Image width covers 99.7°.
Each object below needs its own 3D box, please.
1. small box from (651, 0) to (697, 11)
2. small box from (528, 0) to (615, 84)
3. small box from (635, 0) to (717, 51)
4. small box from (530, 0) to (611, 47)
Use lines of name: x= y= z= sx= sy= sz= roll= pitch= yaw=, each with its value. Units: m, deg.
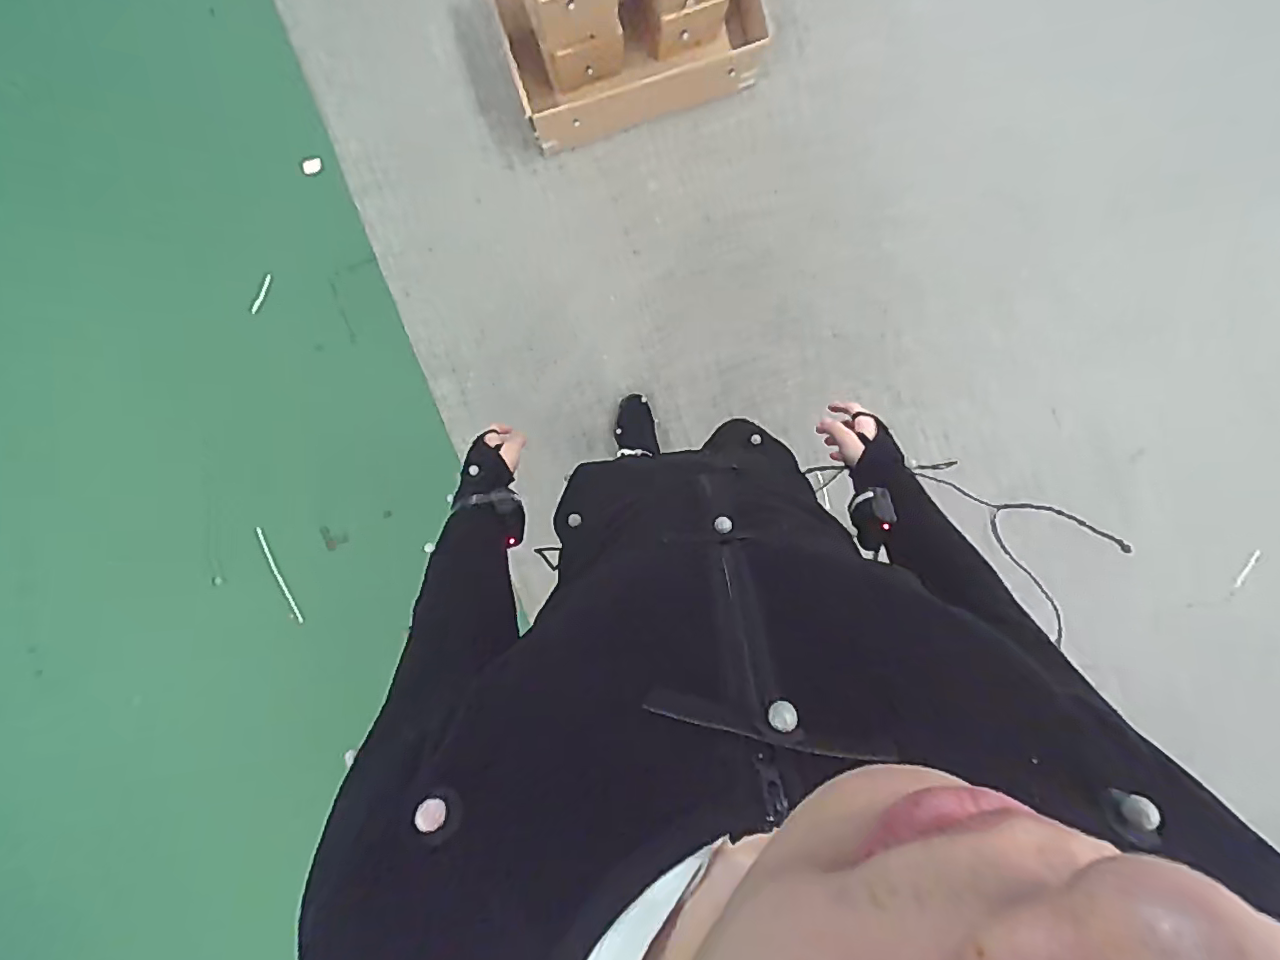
small box: x=0.087 y=-1.162 z=1.145 sx=0.168 sy=0.176 sz=0.179 roll=-17 pitch=100 yaw=2
small box: x=-0.164 y=-1.103 z=1.308 sx=0.168 sy=0.176 sz=0.179 roll=-20 pitch=100 yaw=-1
small box: x=0.084 y=-1.186 z=1.307 sx=0.168 sy=0.176 sz=0.179 roll=-19 pitch=99 yaw=1
small box: x=-0.161 y=-1.078 z=1.144 sx=0.168 sy=0.176 sz=0.179 roll=-15 pitch=99 yaw=0
